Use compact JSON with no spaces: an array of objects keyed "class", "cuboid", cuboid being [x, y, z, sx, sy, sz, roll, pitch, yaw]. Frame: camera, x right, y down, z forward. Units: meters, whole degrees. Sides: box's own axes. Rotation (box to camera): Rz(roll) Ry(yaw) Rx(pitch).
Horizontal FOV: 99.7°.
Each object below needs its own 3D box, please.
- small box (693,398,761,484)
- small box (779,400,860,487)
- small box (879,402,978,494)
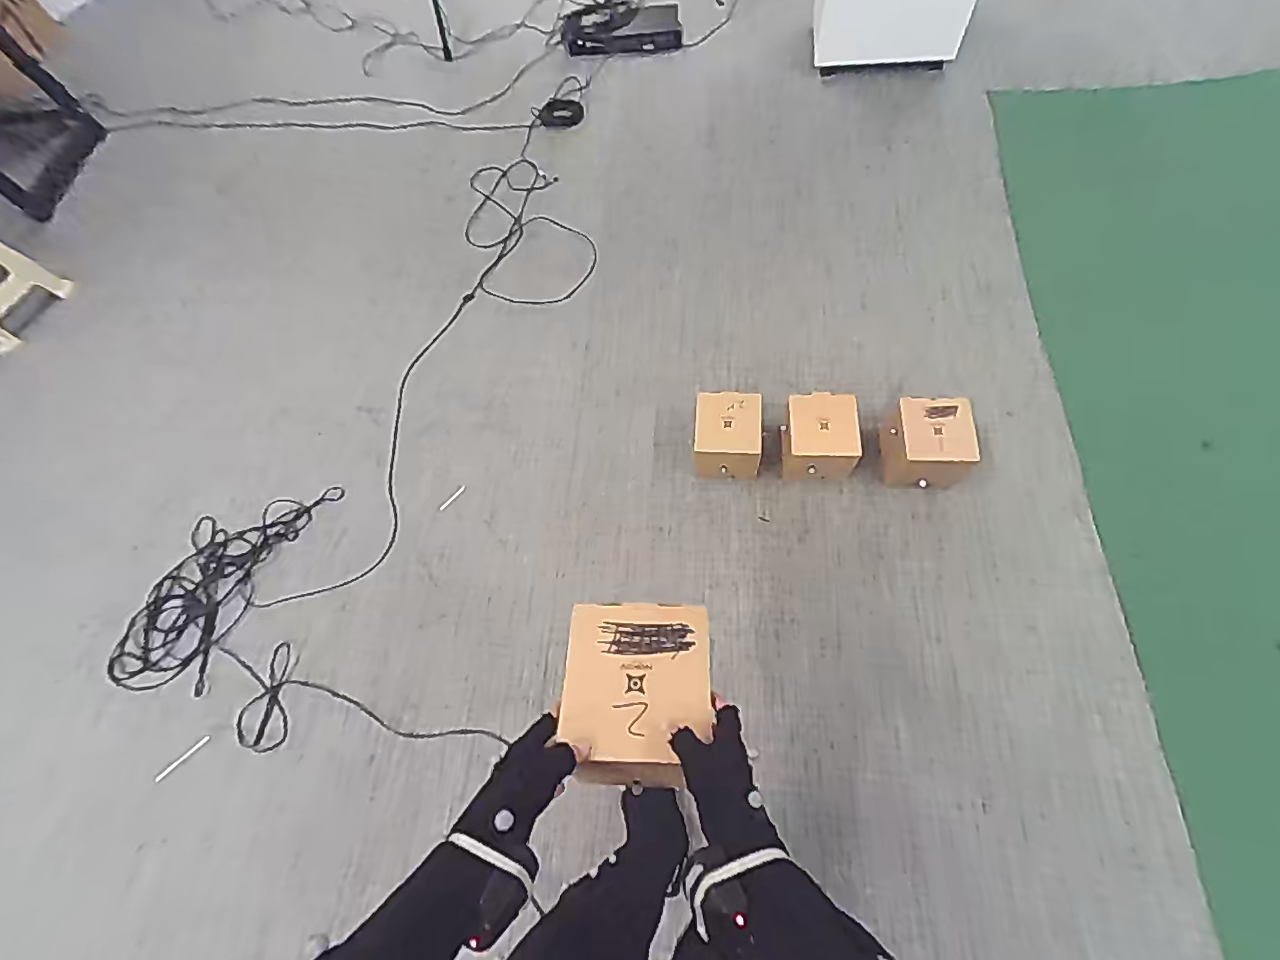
[{"class":"small box","cuboid":[0.229,-0.098,1.431,0.168,0.176,0.179,2,66,7]},{"class":"small box","cuboid":[0.459,-0.091,1.406,0.168,0.176,0.179,1,65,6]},{"class":"small box","cuboid":[0.720,-0.079,1.372,0.168,0.176,0.179,1,67,6]}]
